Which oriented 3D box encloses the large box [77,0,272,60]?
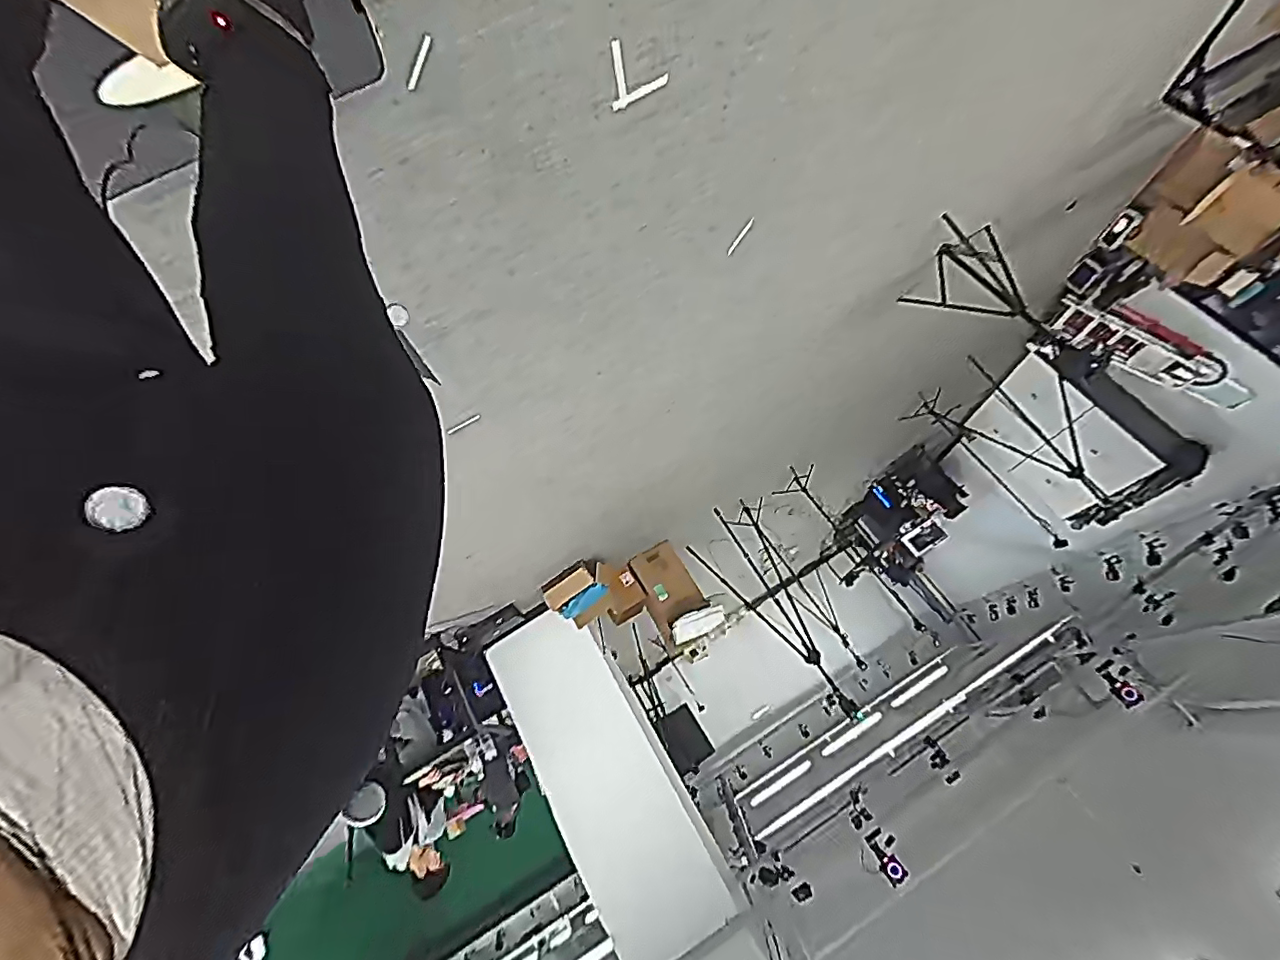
[{"bbox_3d":[-0.463,-0.647,0.404,0.320,0.320,0.408,-35,122,-3],"label":"large box"}]
